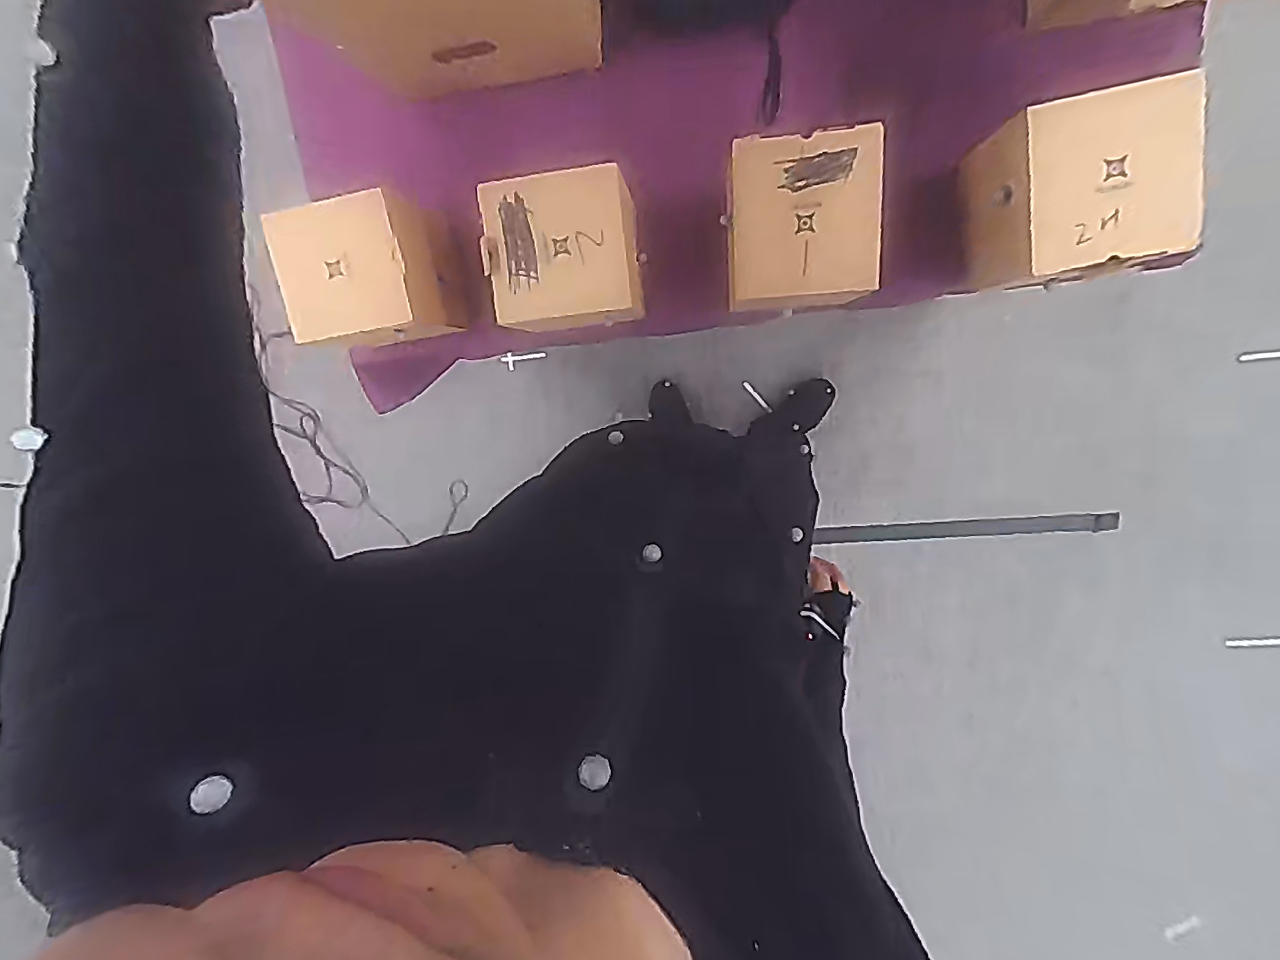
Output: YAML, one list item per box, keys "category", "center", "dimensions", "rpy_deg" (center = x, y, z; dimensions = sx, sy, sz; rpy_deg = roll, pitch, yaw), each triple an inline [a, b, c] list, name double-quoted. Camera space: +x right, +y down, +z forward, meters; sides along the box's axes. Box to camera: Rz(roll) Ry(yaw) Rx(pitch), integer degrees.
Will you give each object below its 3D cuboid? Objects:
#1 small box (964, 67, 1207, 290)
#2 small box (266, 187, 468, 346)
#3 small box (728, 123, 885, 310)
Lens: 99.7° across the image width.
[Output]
- category: "small box"
  center: [0.510, -0.339, 0.647]
  dimensions: [0.168, 0.176, 0.179]
  rpy_deg: [-7, 102, 10]
- category: "small box"
  center: [-0.374, -0.289, 0.772]
  dimensions: [0.179, 0.176, 0.168]
  rpy_deg: [-8, 101, 8]
- category: "small box"
  center: [0.200, -0.320, 0.693]
  dimensions: [0.168, 0.176, 0.179]
  rpy_deg: [-2, 103, 8]
